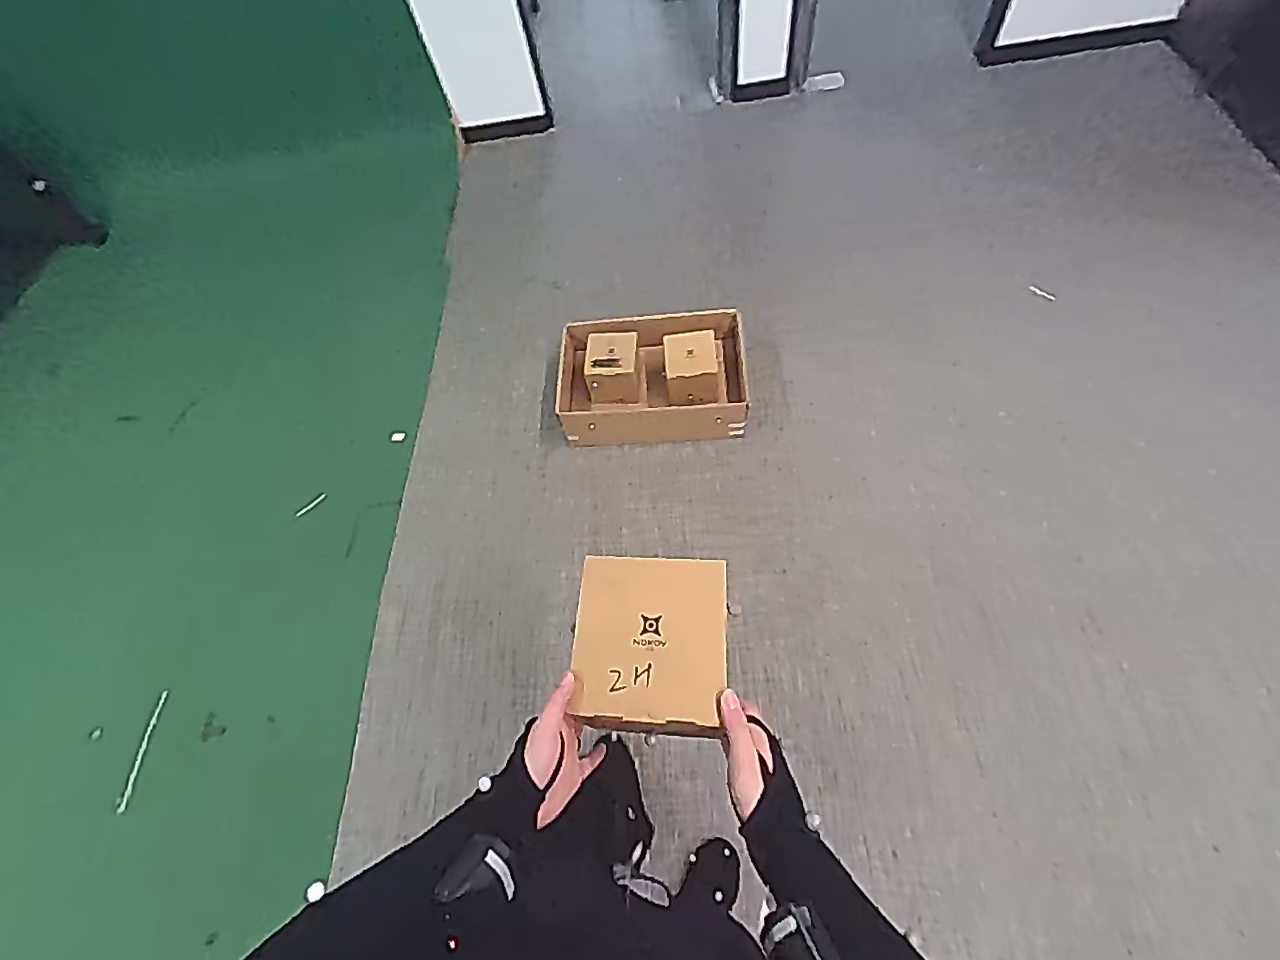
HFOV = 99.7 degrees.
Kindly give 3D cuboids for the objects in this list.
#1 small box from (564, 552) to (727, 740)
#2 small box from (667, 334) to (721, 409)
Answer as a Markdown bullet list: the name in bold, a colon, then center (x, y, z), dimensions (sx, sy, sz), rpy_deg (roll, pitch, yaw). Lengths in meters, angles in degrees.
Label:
- **small box**: center (0.017, 0.203, 0.651), dimensions (0.168, 0.176, 0.179), rpy_deg (1, 60, 8)
- **small box**: center (0.181, -0.360, 1.812), dimensions (0.168, 0.176, 0.179), rpy_deg (-6, 62, 6)
